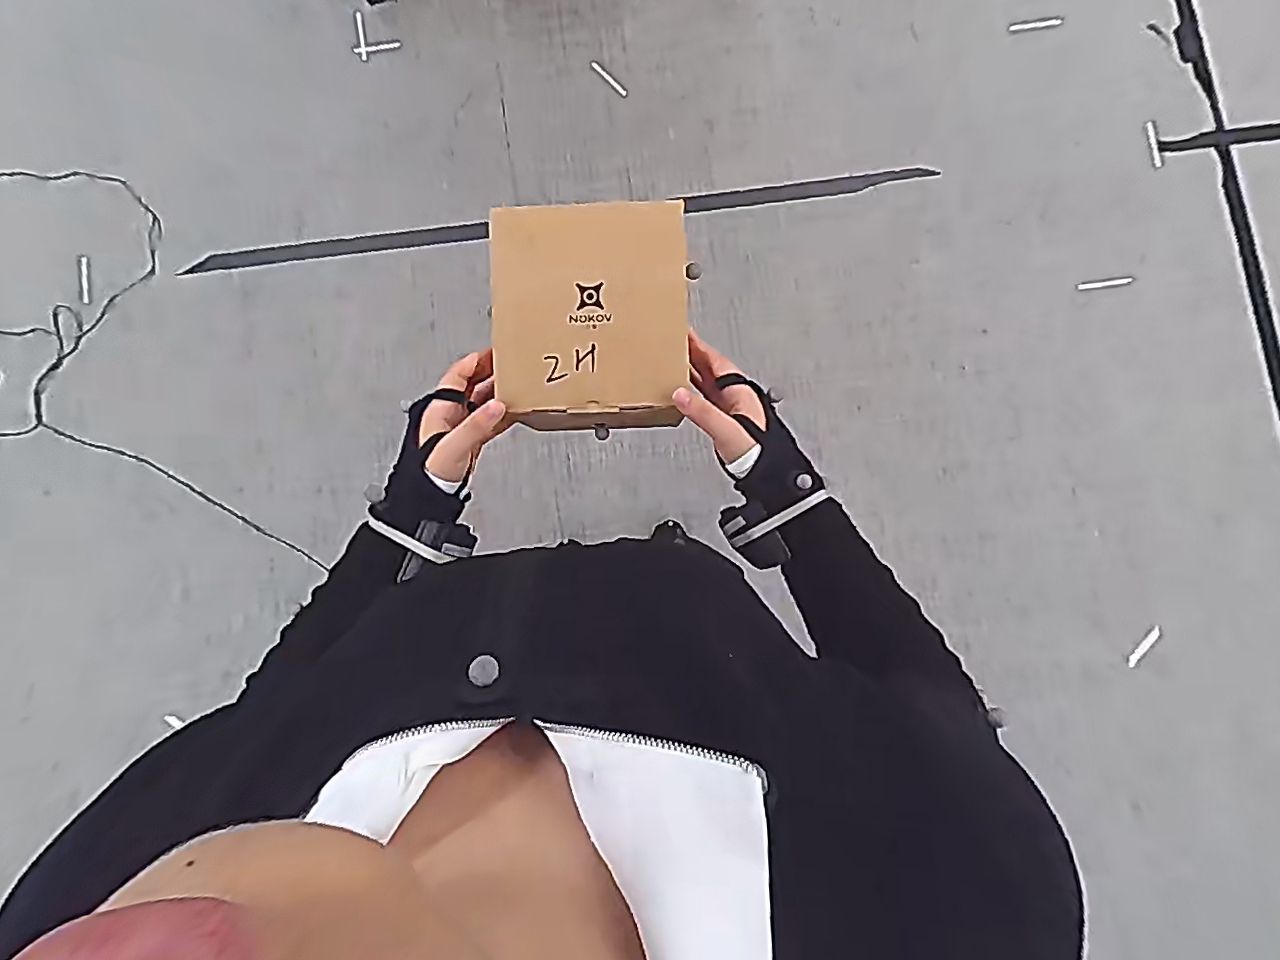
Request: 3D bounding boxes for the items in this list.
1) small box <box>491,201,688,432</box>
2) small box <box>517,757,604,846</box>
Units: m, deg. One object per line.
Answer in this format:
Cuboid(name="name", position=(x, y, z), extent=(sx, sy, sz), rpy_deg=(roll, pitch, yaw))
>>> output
Cuboid(name="small box", position=(-0.043, -0.145, 0.533), extent=(0.168, 0.176, 0.179), rpy_deg=(-2, 90, 1))
Cuboid(name="small box", position=(-0.181, 0.777, 1.274), extent=(0.168, 0.176, 0.179), rpy_deg=(-10, 86, 0))
